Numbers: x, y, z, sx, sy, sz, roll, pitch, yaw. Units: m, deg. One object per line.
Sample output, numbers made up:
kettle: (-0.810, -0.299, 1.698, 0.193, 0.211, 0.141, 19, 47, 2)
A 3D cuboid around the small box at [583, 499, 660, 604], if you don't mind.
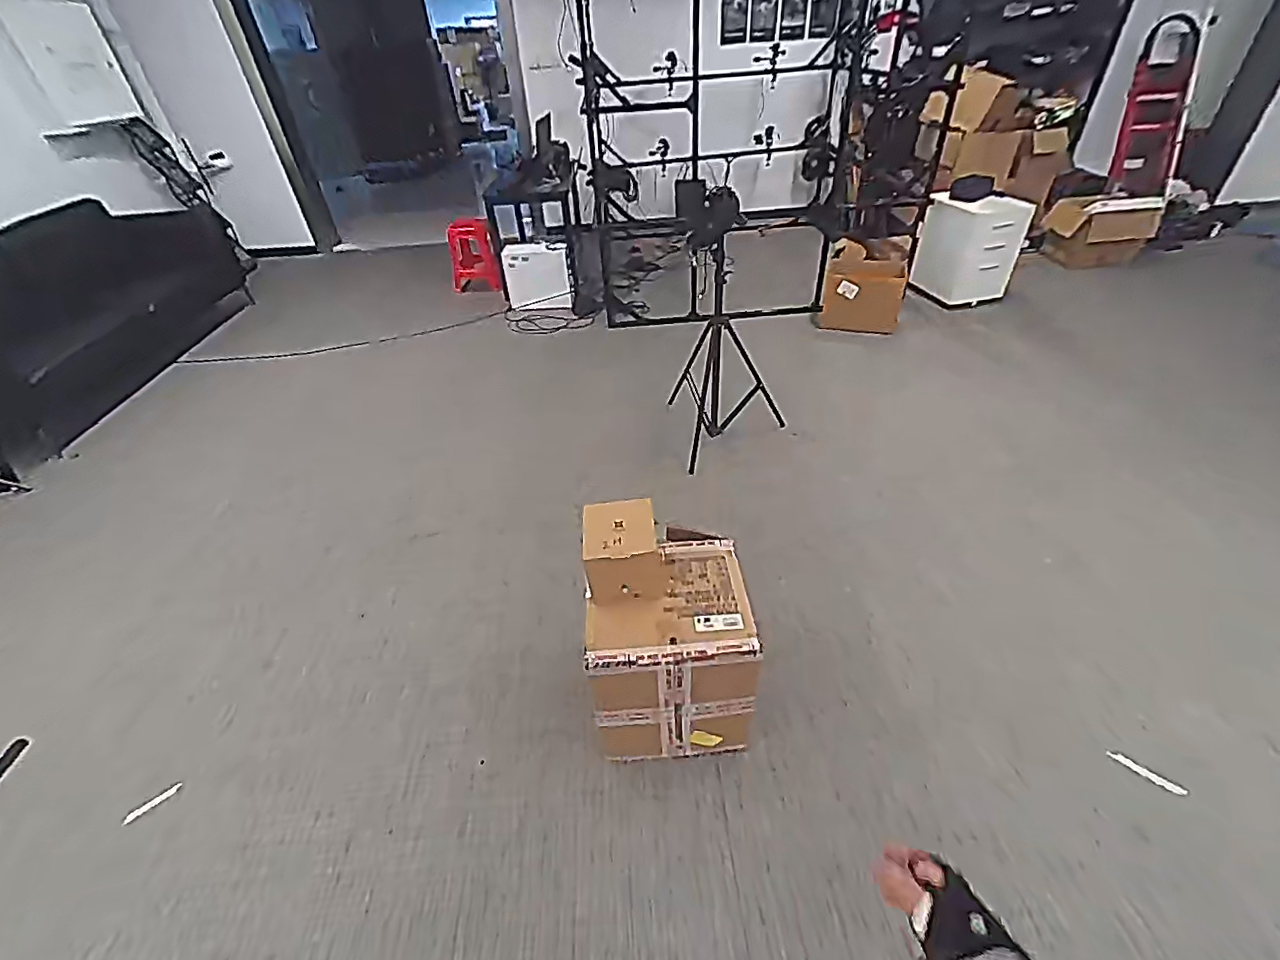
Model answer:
small box: (-0.042, 0.170, 1.292, 0.168, 0.176, 0.179, -6, 42, 0)
